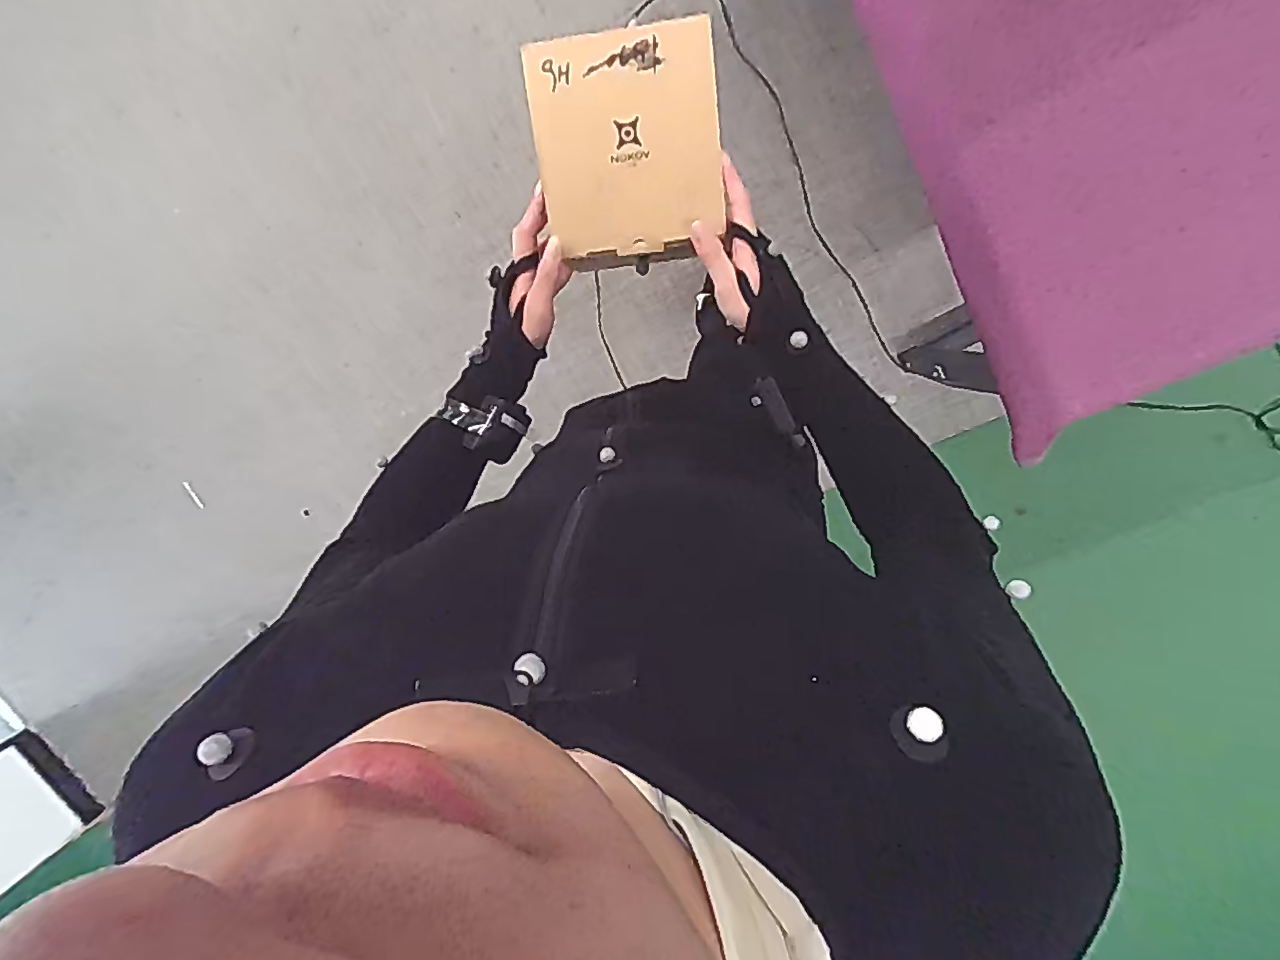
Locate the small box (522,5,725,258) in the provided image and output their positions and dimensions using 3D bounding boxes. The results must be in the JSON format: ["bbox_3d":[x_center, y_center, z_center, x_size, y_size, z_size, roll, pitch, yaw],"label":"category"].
[{"bbox_3d":[-0.008,-0.330,0.554,0.168,0.176,0.179,-7,108,3],"label":"small box"}]
